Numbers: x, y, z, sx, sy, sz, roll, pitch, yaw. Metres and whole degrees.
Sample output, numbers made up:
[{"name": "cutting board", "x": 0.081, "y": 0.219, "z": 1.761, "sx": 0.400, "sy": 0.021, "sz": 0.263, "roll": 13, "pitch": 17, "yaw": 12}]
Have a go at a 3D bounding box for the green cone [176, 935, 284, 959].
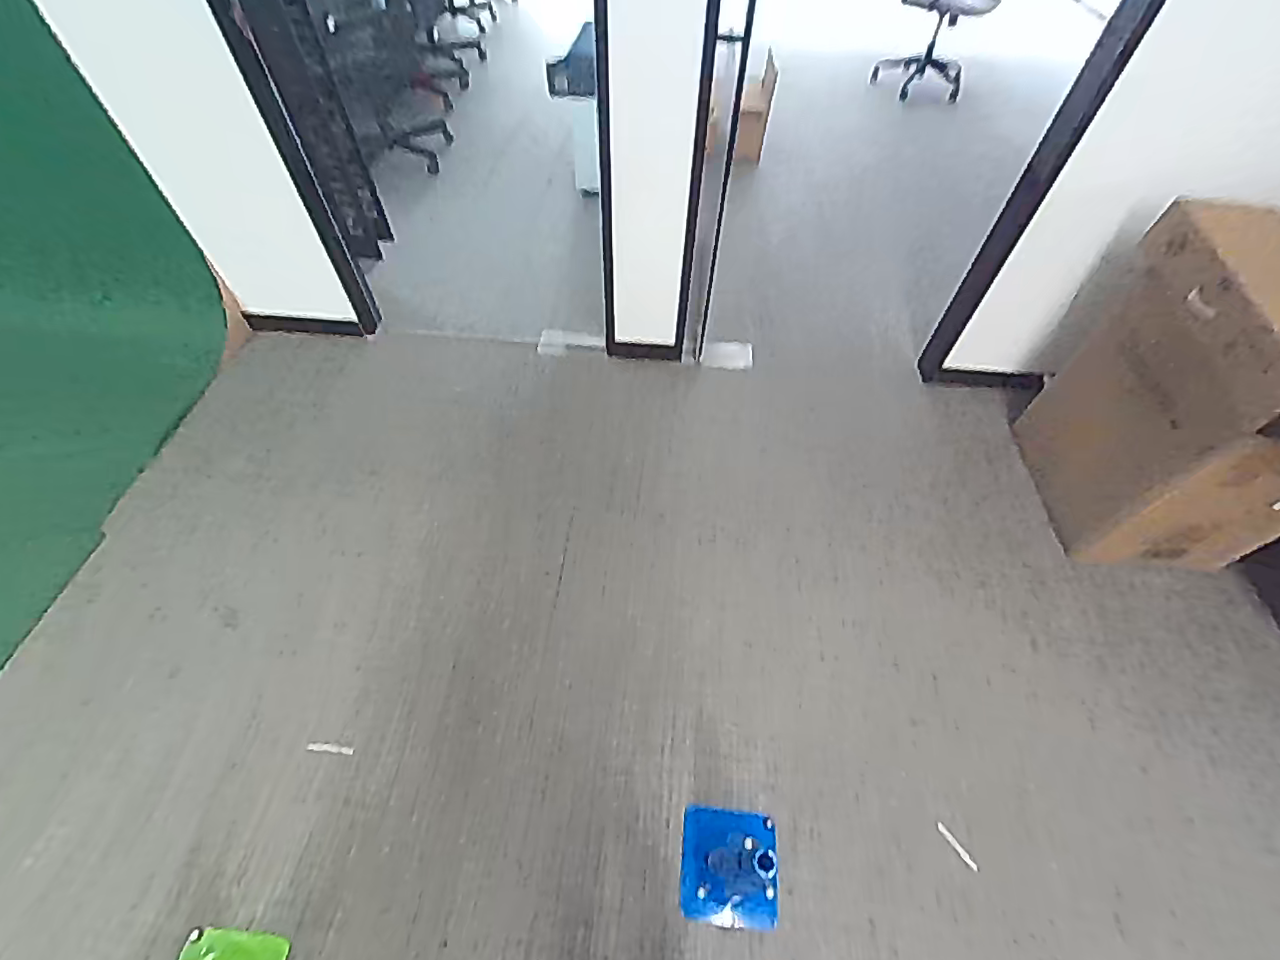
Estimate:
[{"name": "green cone", "x": -0.777, "y": 0.861, "z": 0.844, "sx": 0.202, "sy": 0.368, "sz": 0.200, "roll": 5, "pitch": 53, "yaw": 1}]
